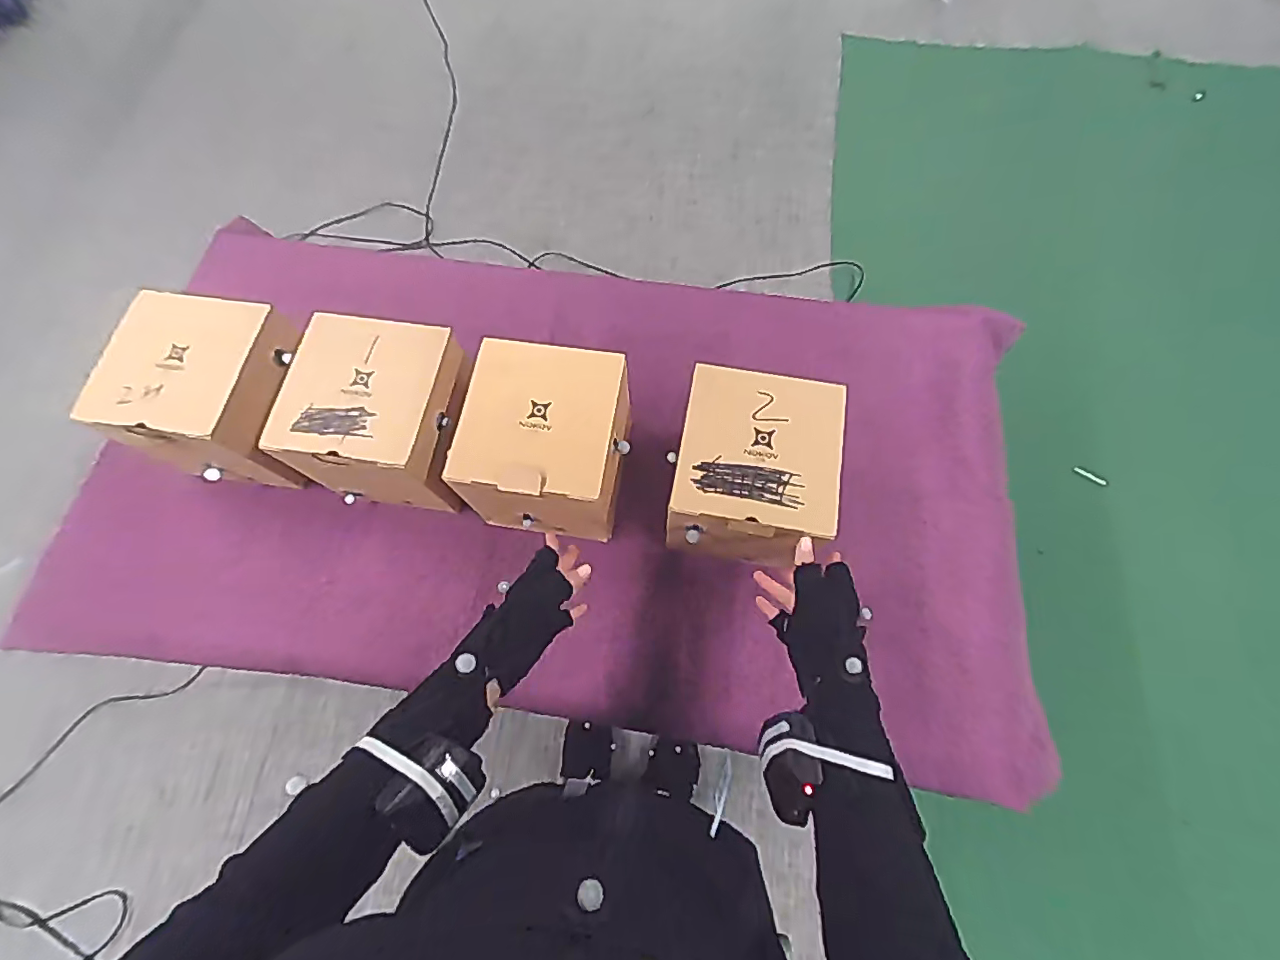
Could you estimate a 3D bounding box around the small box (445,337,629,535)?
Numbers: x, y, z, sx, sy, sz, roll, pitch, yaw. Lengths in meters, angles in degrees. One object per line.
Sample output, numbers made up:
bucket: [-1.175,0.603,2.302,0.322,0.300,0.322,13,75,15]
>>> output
small box: [-0.107,-0.046,0.658,0.168,0.176,0.179,7,71,6]

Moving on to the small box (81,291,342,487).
small box: [-0.517,-0.108,0.688,0.168,0.176,0.179,7,71,4]
